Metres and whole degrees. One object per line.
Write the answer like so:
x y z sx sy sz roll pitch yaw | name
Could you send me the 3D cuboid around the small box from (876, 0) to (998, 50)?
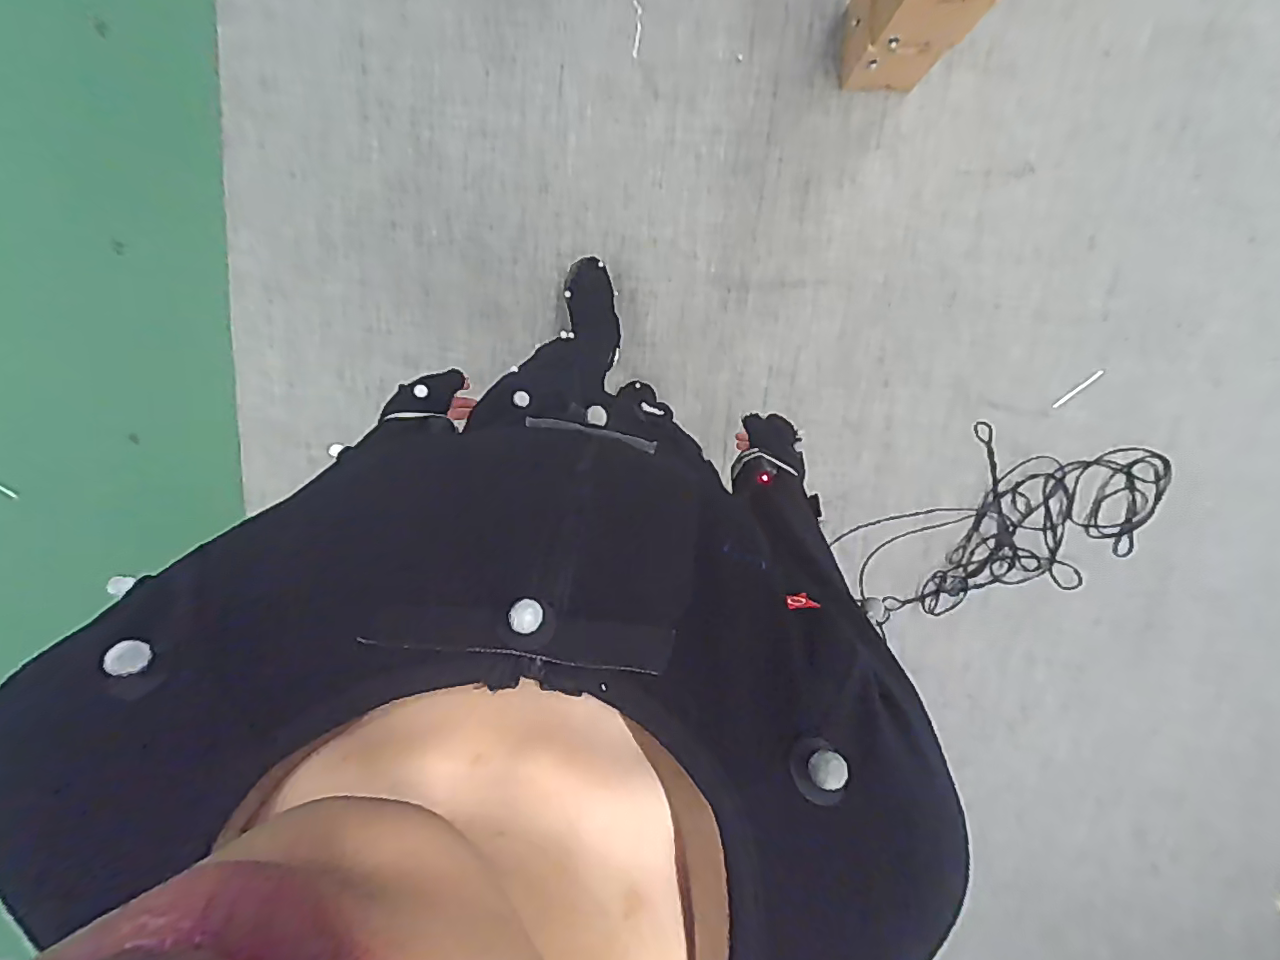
0.555 -0.937 0.998 0.168 0.176 0.179 3 101 1 | small box
